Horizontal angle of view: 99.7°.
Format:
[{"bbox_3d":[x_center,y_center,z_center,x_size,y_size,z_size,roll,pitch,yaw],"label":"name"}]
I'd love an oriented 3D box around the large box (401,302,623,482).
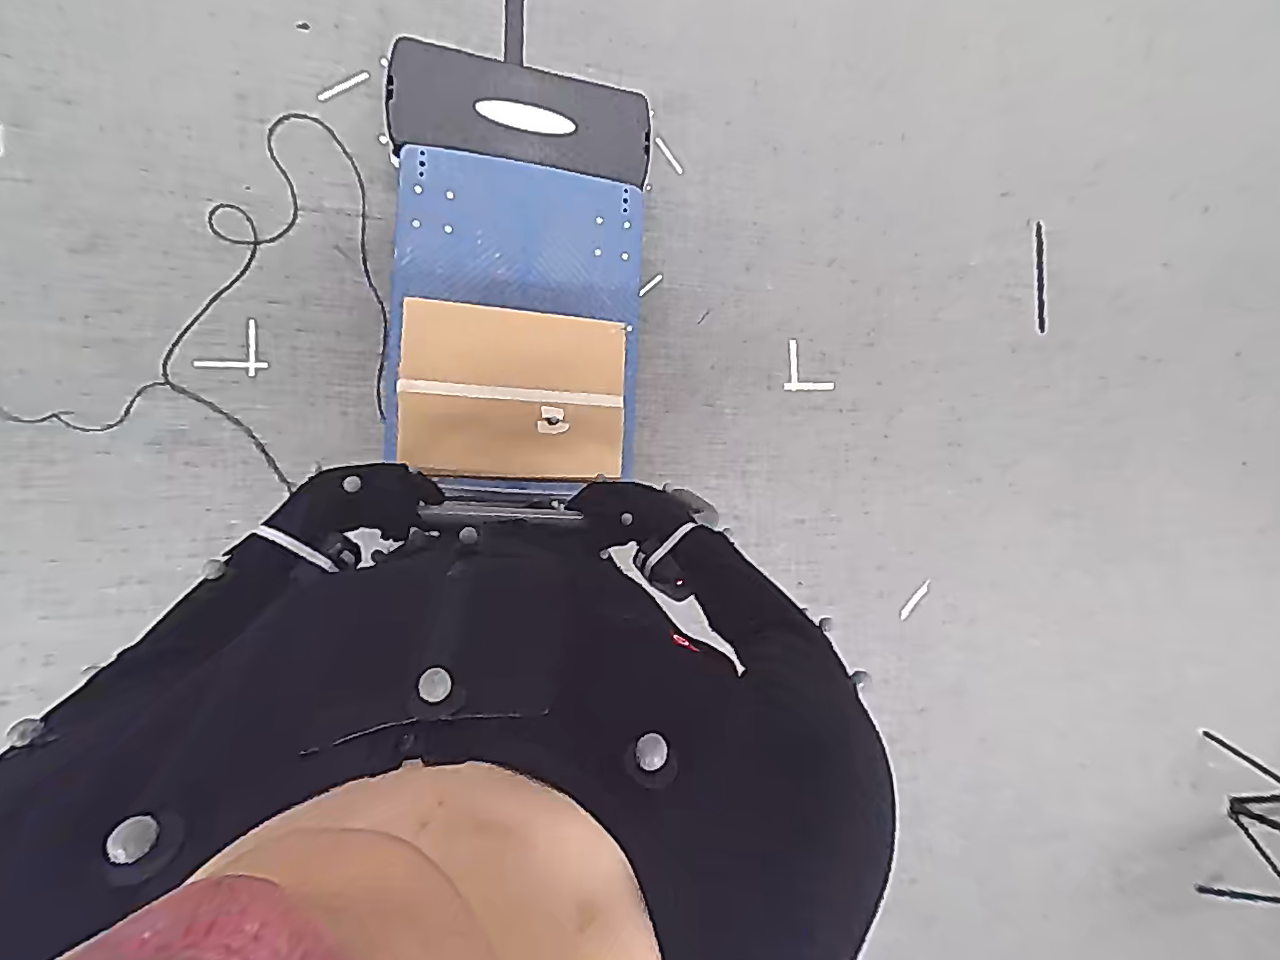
[{"bbox_3d":[-0.268,-0.155,1.141,0.408,0.320,0.320,2,90,-16],"label":"large box"}]
